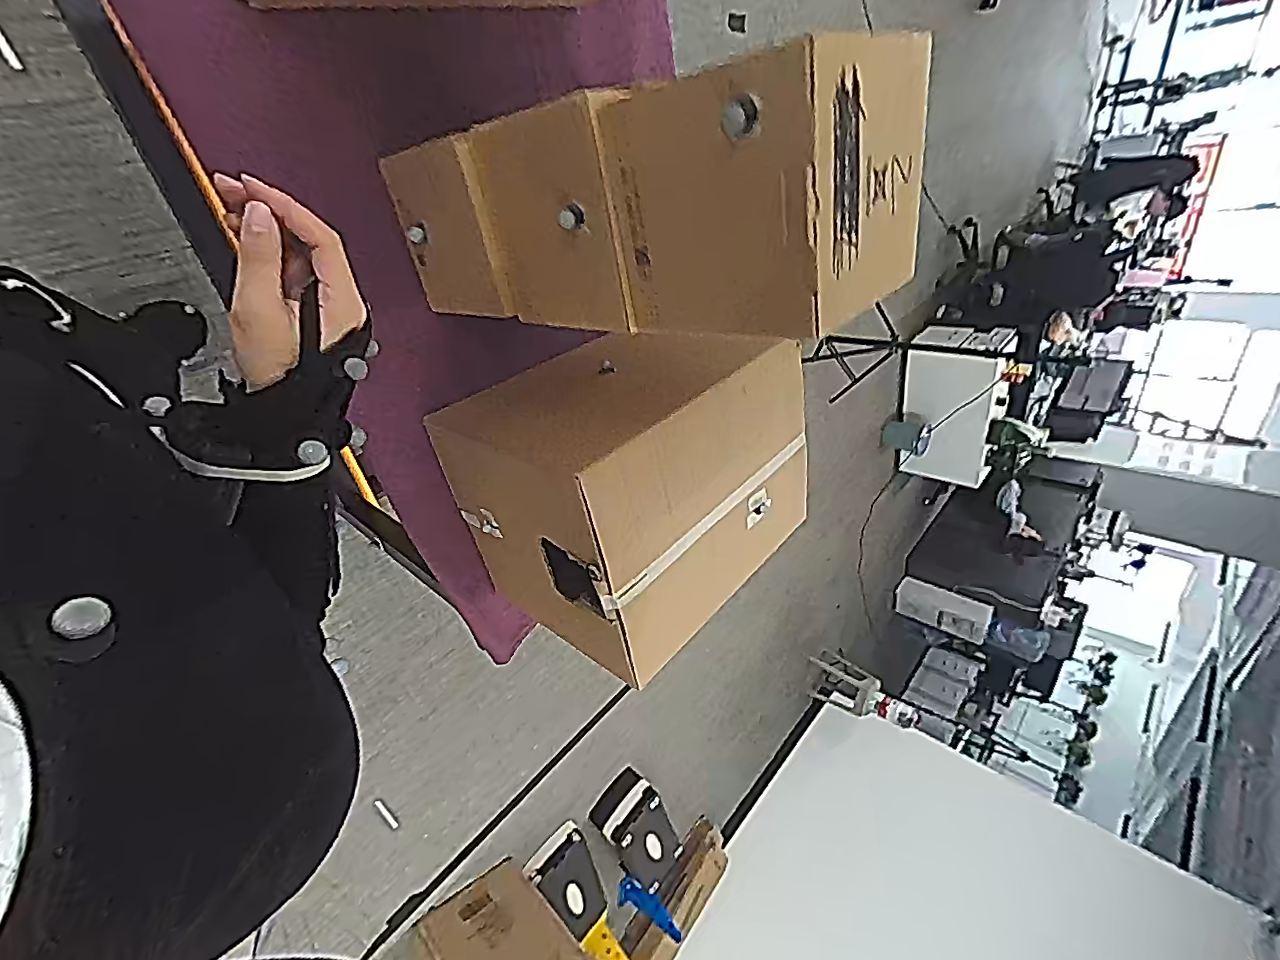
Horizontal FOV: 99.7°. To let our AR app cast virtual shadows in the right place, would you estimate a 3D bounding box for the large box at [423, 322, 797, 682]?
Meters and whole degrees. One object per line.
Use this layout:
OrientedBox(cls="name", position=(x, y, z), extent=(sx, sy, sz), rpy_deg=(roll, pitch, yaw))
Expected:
OrientedBox(cls="large box", position=(-0.016, -0.011, 0.779), extent=(0.408, 0.320, 0.320), rpy_deg=(-36, 130, -35))
